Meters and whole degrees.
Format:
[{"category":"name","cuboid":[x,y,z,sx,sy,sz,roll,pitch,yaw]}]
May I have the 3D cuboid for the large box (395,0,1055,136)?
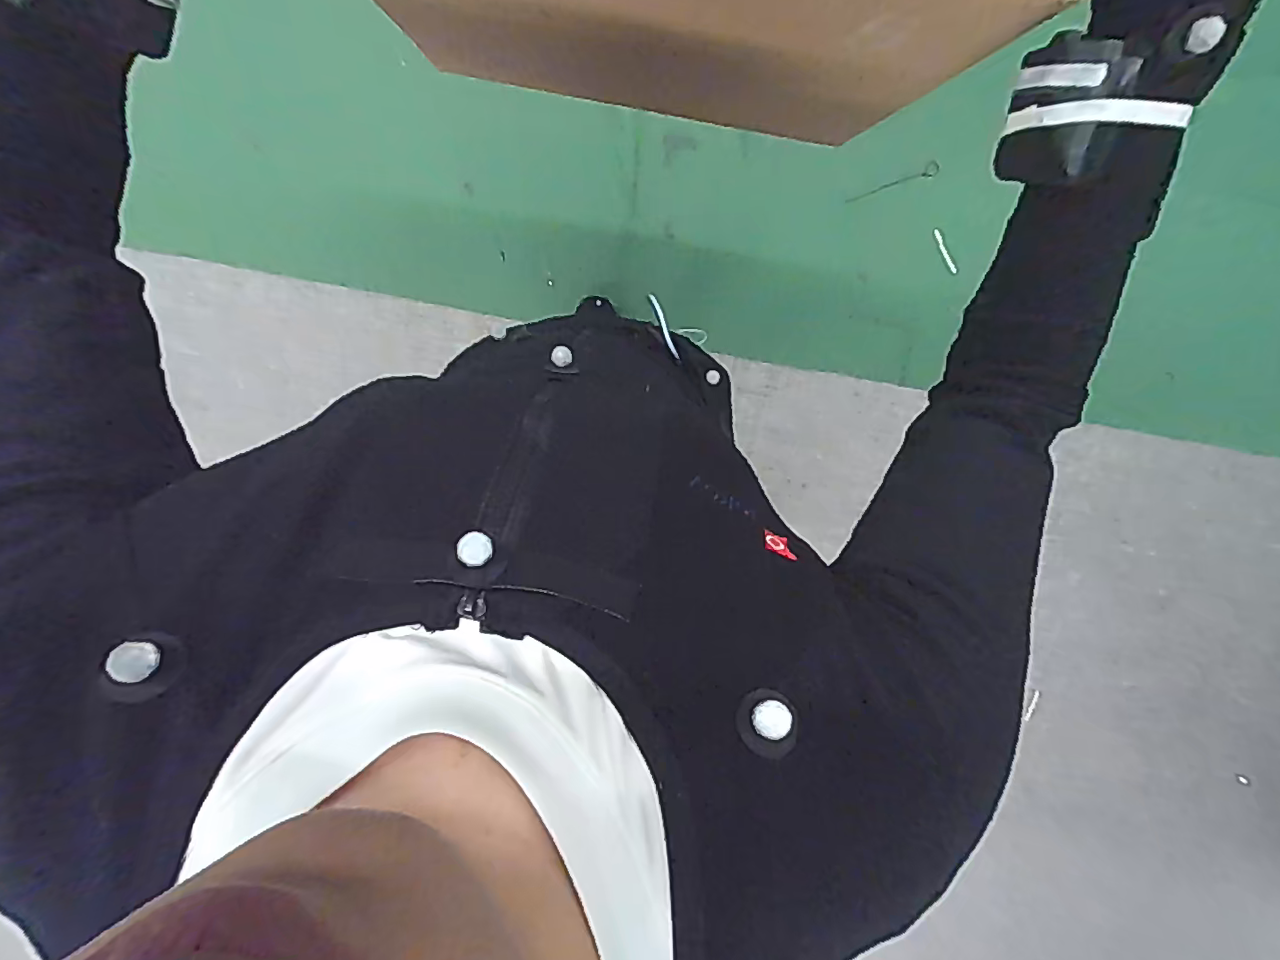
[{"category":"large box","cuboid":[0.037,-0.457,0.341,0.408,0.320,0.320,7,111,-5]}]
